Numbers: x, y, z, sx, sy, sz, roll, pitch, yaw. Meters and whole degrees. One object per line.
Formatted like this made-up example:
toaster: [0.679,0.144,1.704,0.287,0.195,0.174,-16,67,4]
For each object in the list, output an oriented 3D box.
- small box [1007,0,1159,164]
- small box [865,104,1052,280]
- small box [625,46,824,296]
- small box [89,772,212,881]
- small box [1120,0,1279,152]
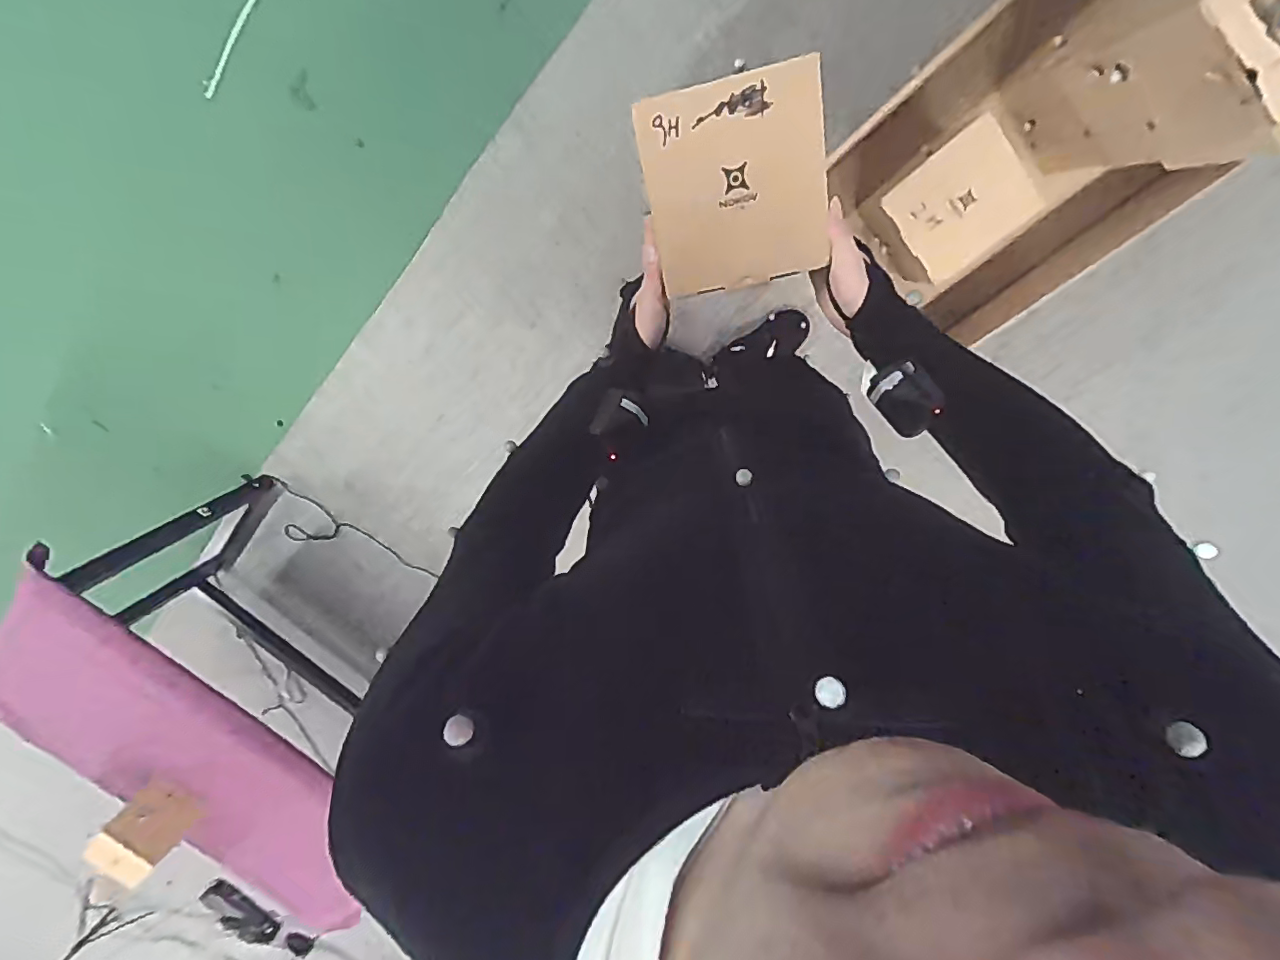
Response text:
small box: [0.684,-0.592,0.779,0.179,0.176,0.168,-38,102,26]
small box: [0.495,-0.450,0.870,0.179,0.176,0.168,-37,102,21]
small box: [0.089,-0.314,0.568,0.168,0.176,0.179,-10,119,10]
small box: [-1.337,0.947,1.489,0.168,0.176,0.179,44,114,-9]
small box: [0.603,-0.439,0.498,0.168,0.176,0.179,45,116,-10]
